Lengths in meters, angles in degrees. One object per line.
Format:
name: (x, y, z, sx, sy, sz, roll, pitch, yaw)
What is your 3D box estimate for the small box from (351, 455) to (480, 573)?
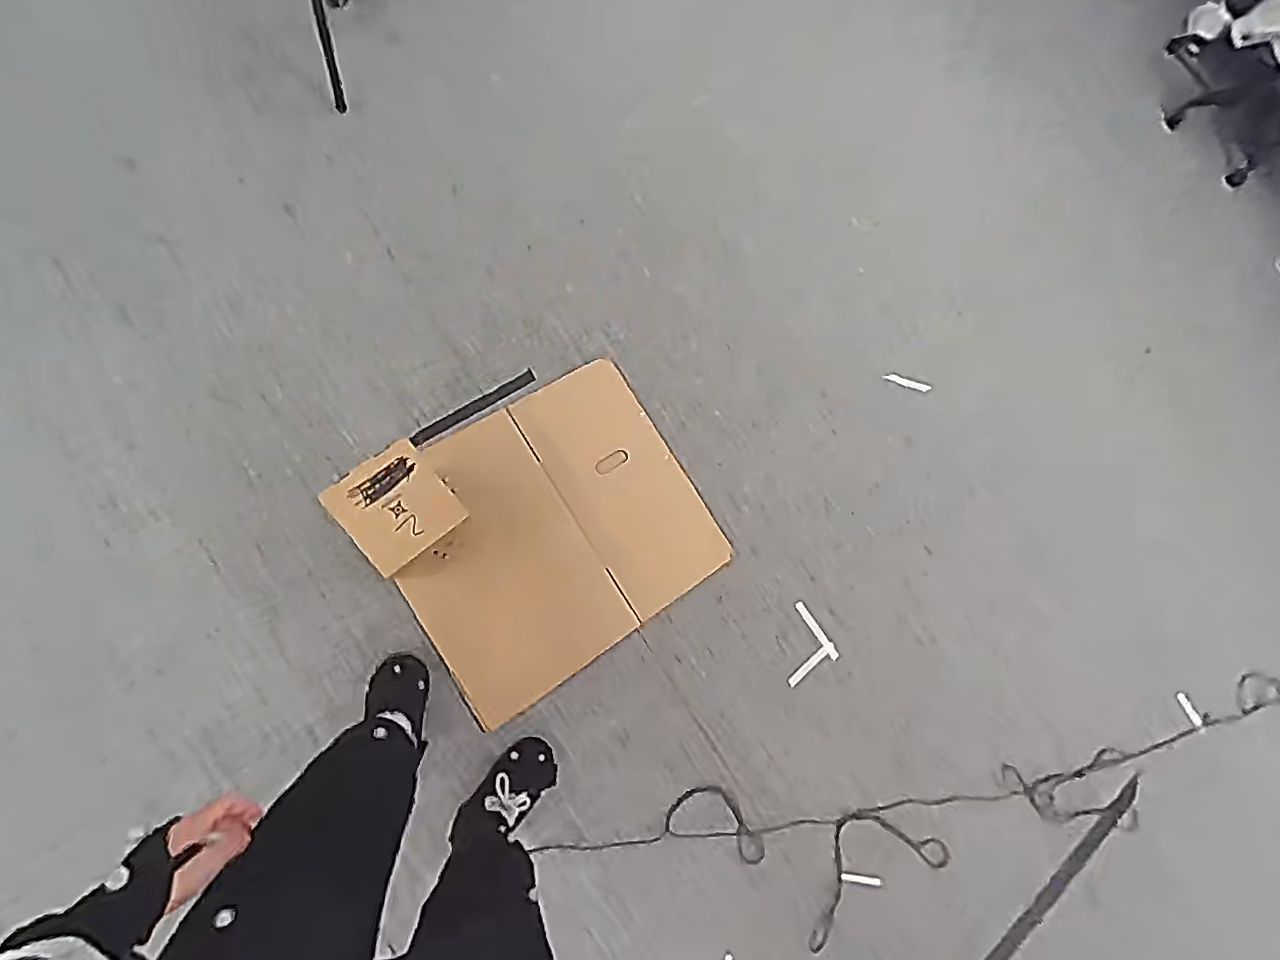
small box: (-0.452, 0.080, 1.118, 0.168, 0.176, 0.179, -43, 92, -17)
